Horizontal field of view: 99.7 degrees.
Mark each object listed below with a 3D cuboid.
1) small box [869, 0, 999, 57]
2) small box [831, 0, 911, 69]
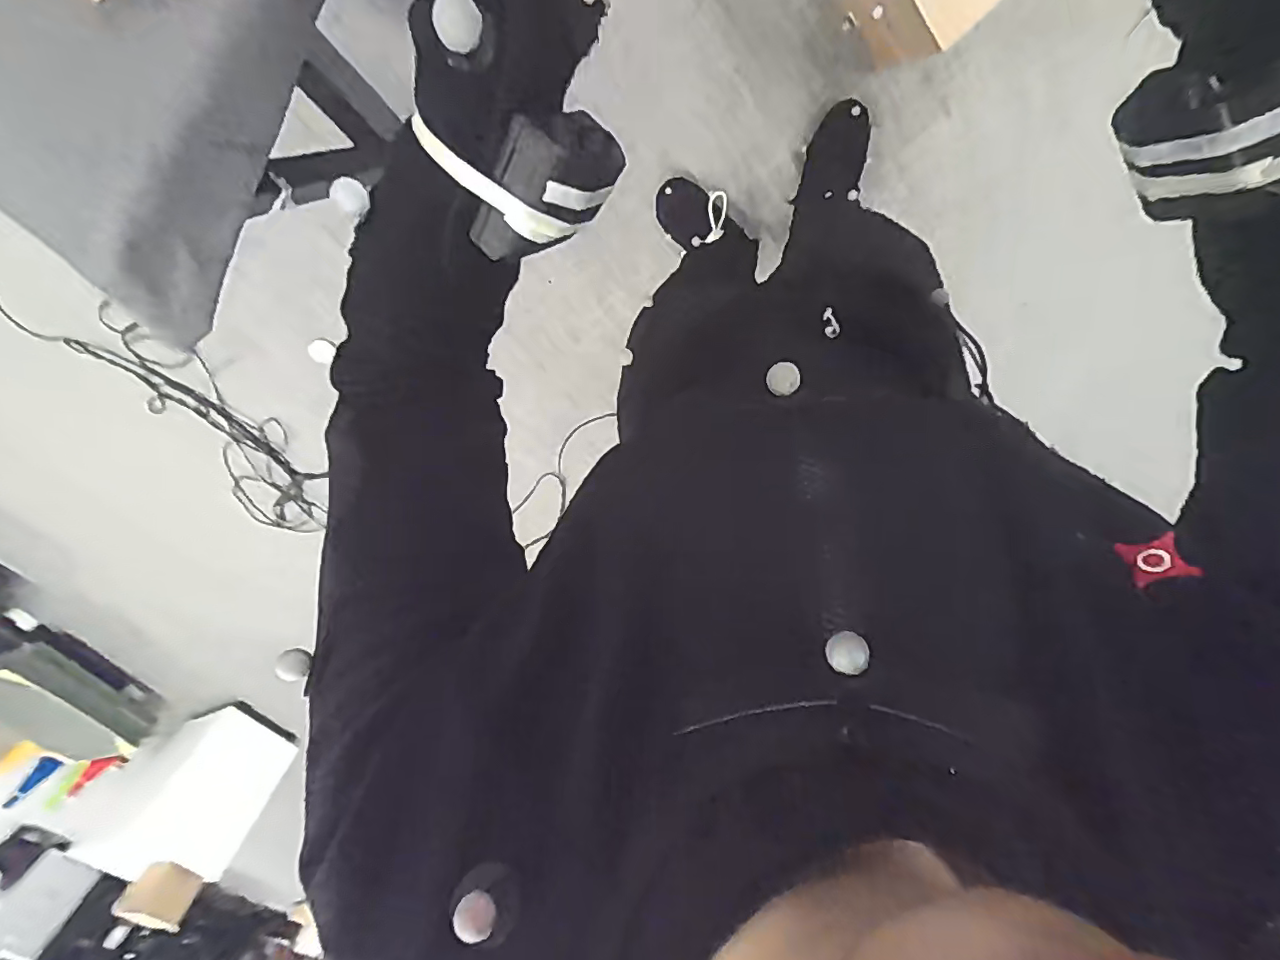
[{"bbox_3d":[0.408,-0.702,0.706,0.168,0.176,0.179,42,120,-19],"label":"small box"},{"bbox_3d":[0.422,-0.790,0.844,0.179,0.176,0.168,-37,112,28],"label":"small box"}]
